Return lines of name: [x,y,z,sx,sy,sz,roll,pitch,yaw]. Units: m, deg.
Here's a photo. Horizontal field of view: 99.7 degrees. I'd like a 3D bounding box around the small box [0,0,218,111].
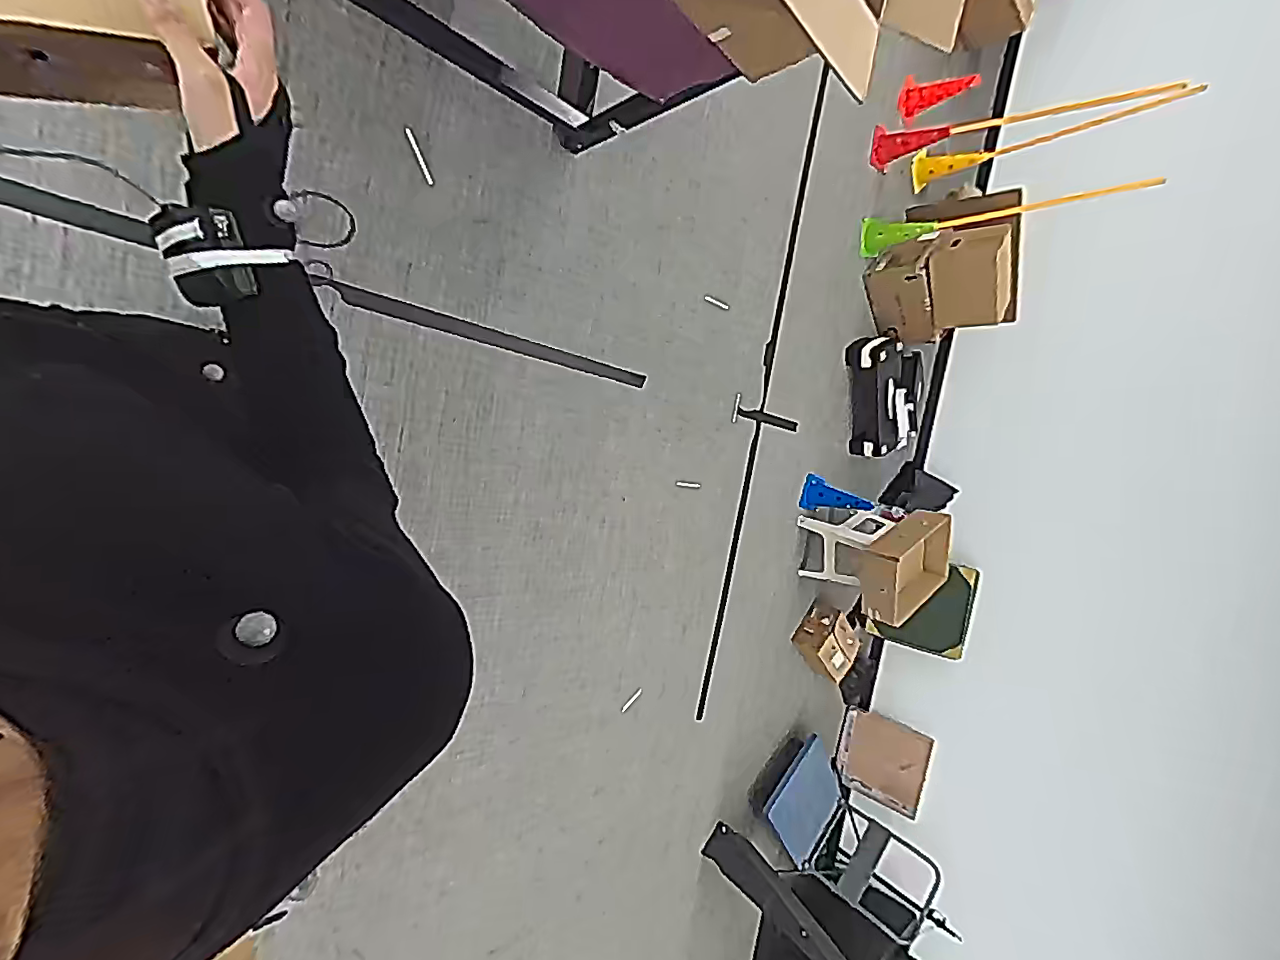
small box: [-0.418,-0.374,0.368,0.179,0.176,0.168,-19,116,-33]
